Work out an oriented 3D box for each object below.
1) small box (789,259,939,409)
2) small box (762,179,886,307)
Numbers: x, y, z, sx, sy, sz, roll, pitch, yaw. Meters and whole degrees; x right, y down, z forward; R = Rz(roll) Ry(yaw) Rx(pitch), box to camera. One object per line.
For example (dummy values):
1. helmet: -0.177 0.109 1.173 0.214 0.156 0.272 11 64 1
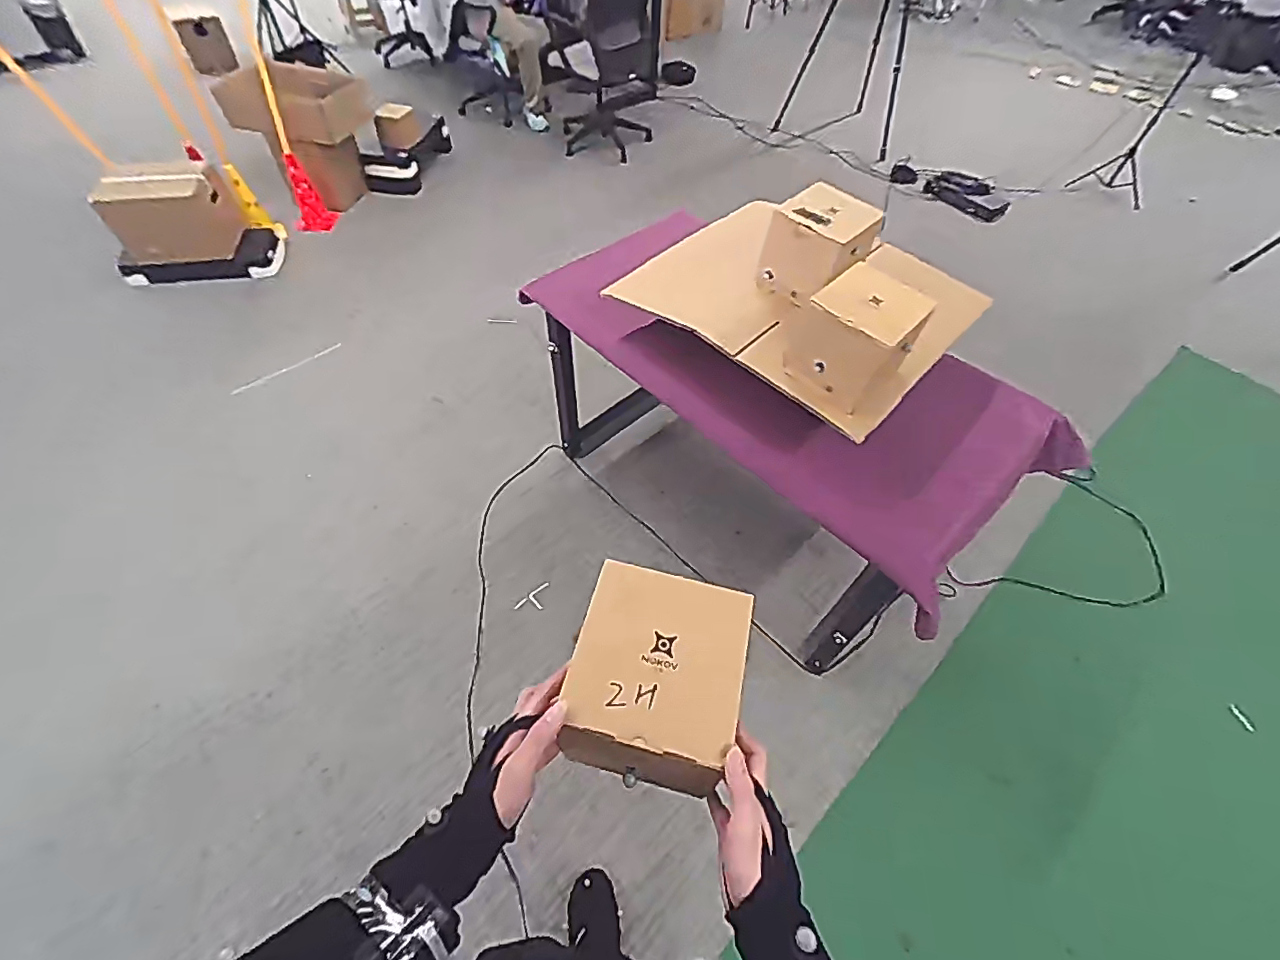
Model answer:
1. small box: 0.404 -0.267 1.003 0.168 0.176 0.179 40 63 20
2. small box: 0.381 -0.501 1.156 0.168 0.176 0.179 40 61 20
